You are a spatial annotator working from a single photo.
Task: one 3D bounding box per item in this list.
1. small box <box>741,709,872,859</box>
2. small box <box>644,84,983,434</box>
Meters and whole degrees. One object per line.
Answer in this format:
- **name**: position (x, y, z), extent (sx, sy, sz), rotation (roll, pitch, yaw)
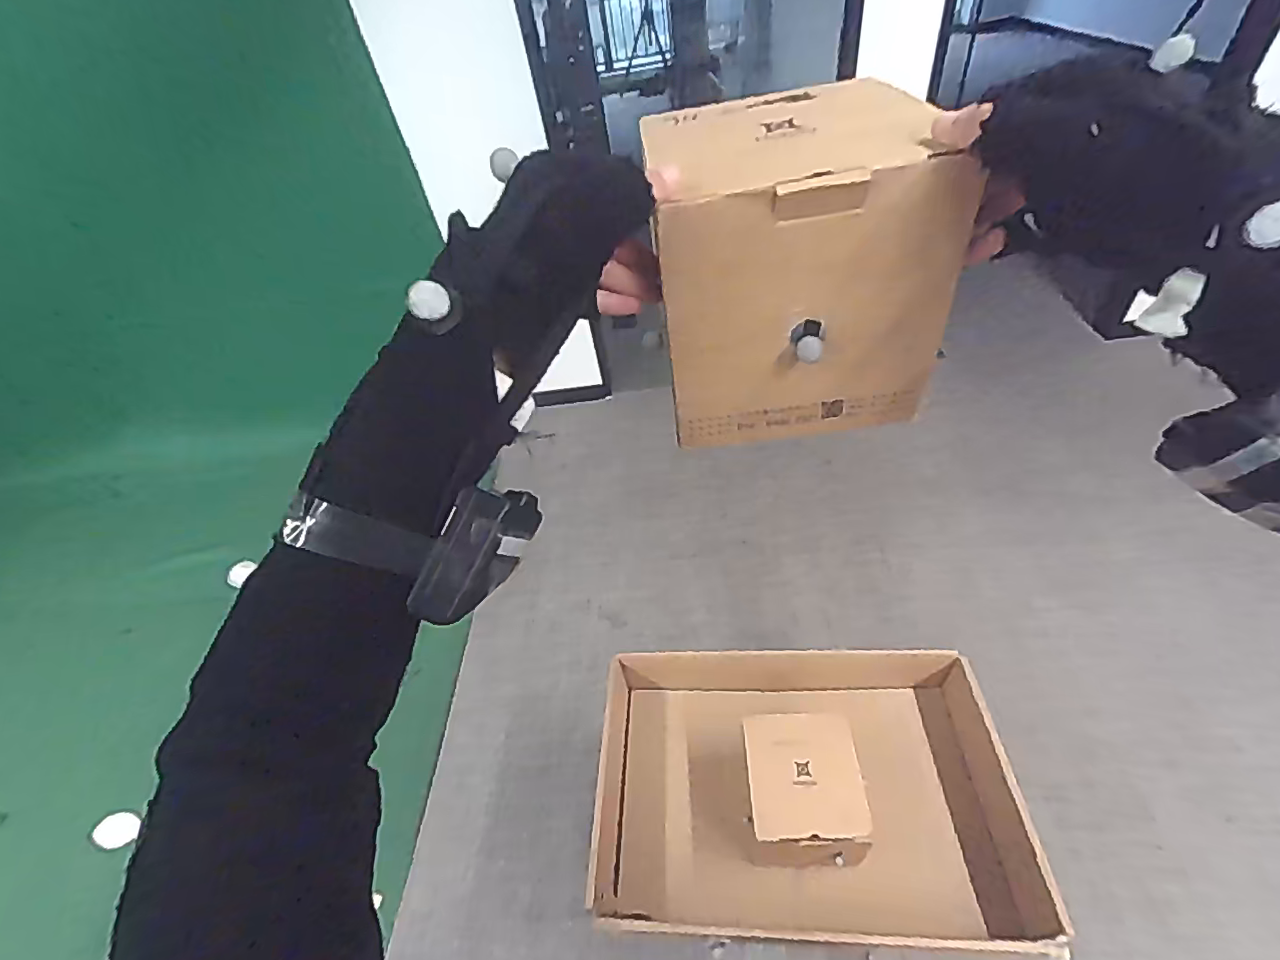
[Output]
- **small box**: position (0.254, 0.489, 0.865), extent (0.168, 0.176, 0.179), rotation (-4, 44, 5)
- **small box**: position (0.096, -0.146, 0.380), extent (0.168, 0.176, 0.179), rotation (-6, 46, 5)
